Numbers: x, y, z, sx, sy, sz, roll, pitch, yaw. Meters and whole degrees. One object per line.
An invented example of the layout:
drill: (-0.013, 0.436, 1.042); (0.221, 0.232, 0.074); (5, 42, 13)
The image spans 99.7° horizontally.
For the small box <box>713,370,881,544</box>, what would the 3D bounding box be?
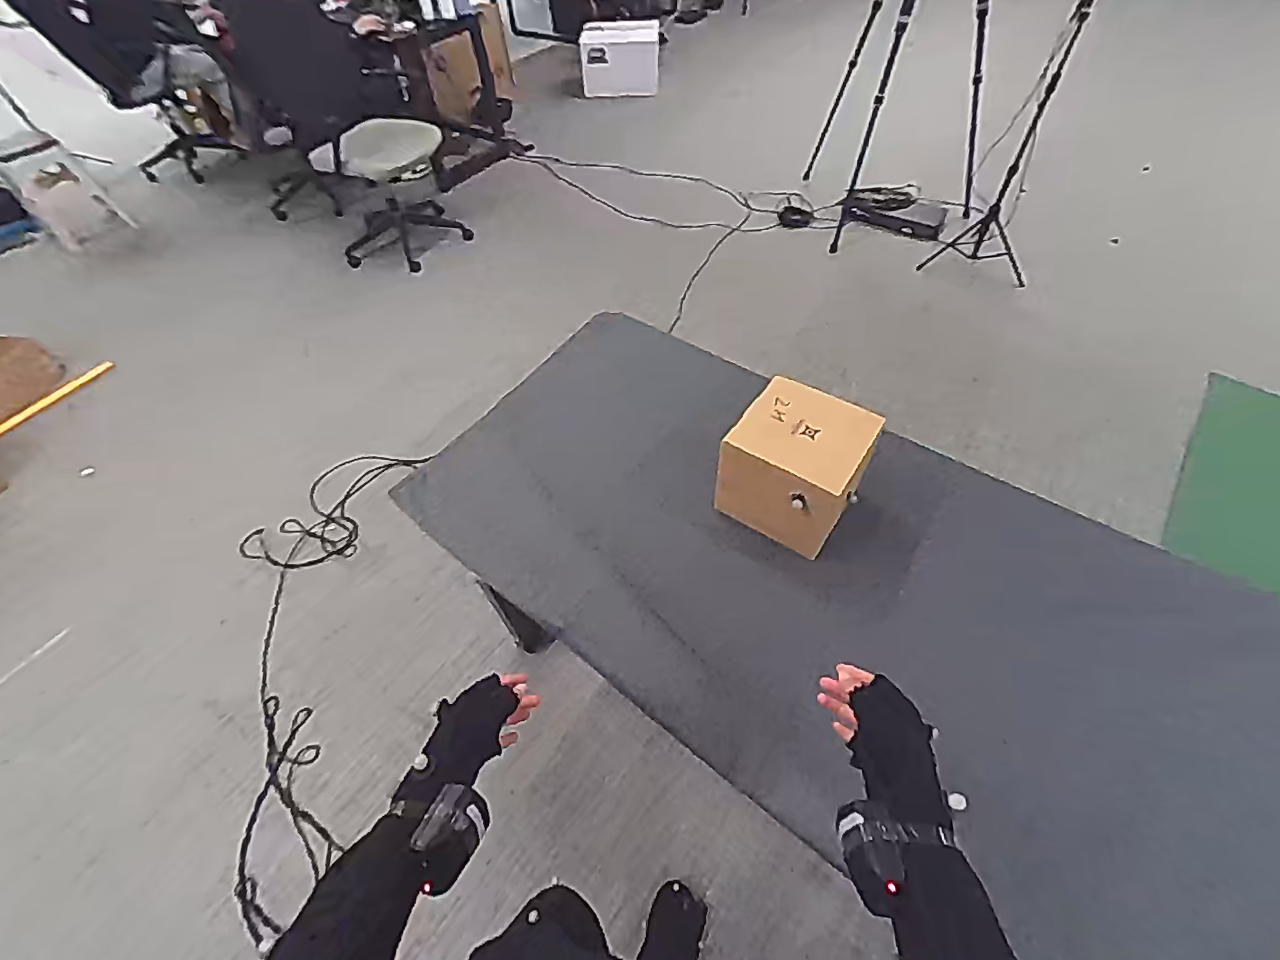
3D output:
small box: (0.226, -0.028, 0.817); (0.179, 0.176, 0.168); (28, 59, 23)
